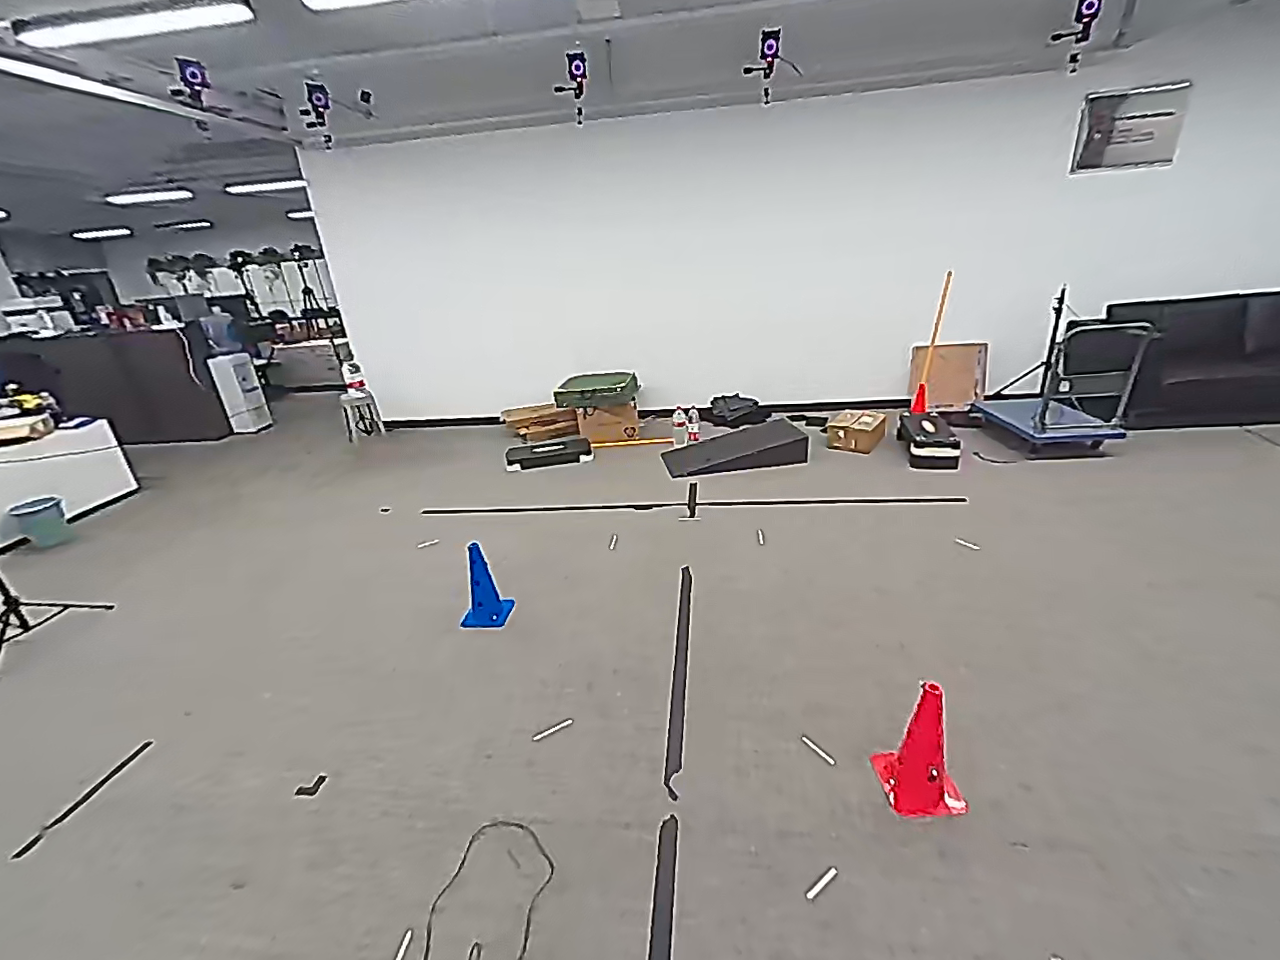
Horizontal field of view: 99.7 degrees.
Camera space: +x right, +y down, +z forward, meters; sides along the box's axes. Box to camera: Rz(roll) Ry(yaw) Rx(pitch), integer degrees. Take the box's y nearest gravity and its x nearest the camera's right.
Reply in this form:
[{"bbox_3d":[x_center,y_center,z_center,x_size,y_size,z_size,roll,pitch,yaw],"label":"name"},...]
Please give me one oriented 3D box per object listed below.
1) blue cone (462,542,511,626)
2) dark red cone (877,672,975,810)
[{"bbox_3d":[-0.704,0.444,2.371,0.192,0.380,0.193,-2,23,9],"label":"blue cone"},{"bbox_3d":[0.782,0.680,1.457,0.201,0.394,0.202,-5,23,1],"label":"dark red cone"}]
